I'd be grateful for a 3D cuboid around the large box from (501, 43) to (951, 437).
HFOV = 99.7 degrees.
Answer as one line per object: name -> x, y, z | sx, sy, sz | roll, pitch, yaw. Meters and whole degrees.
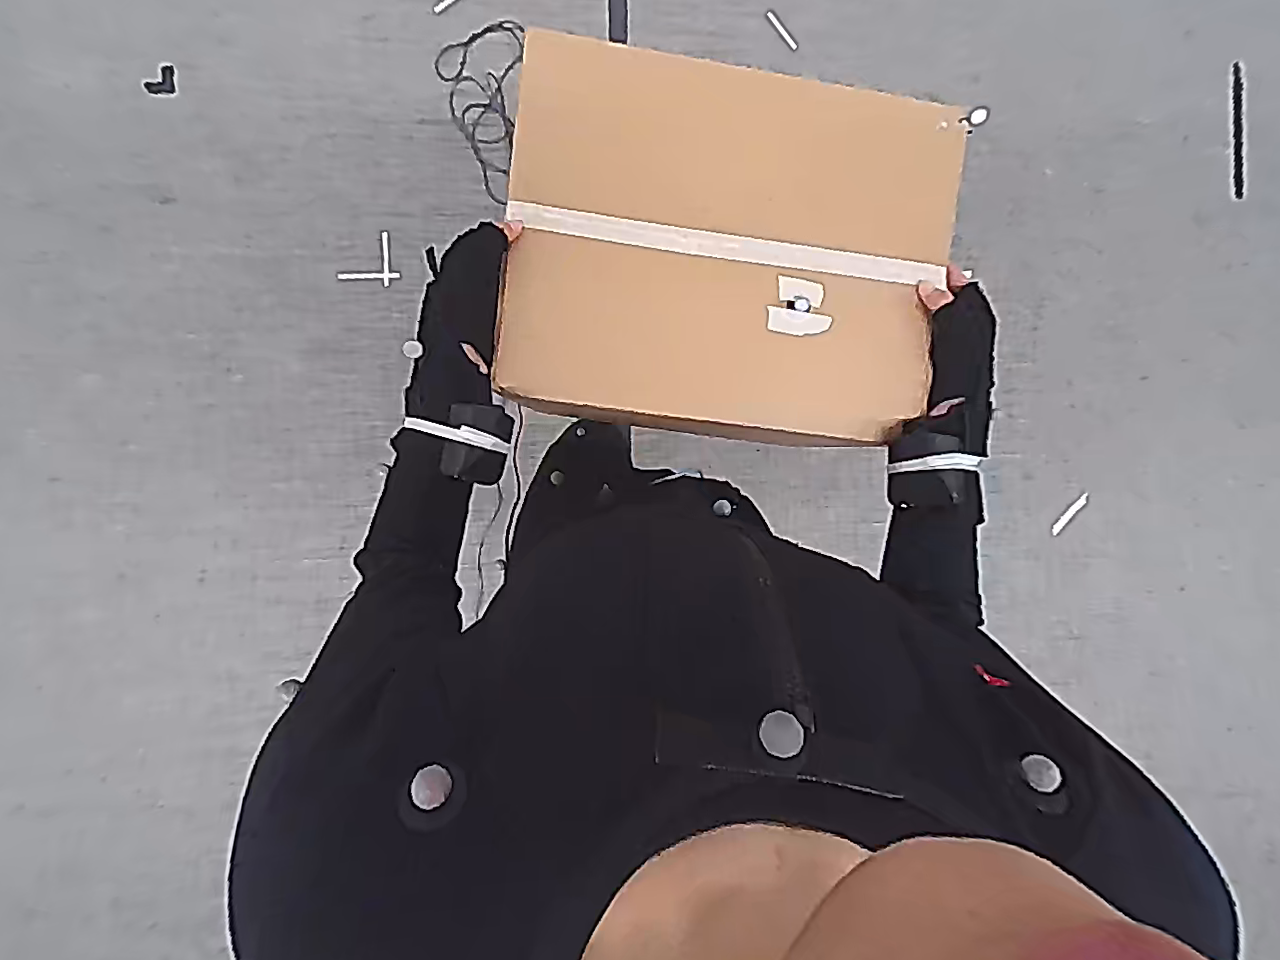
large box -> 0.069, -0.227, 0.651 | 0.408, 0.320, 0.320 | 7, 95, -5
